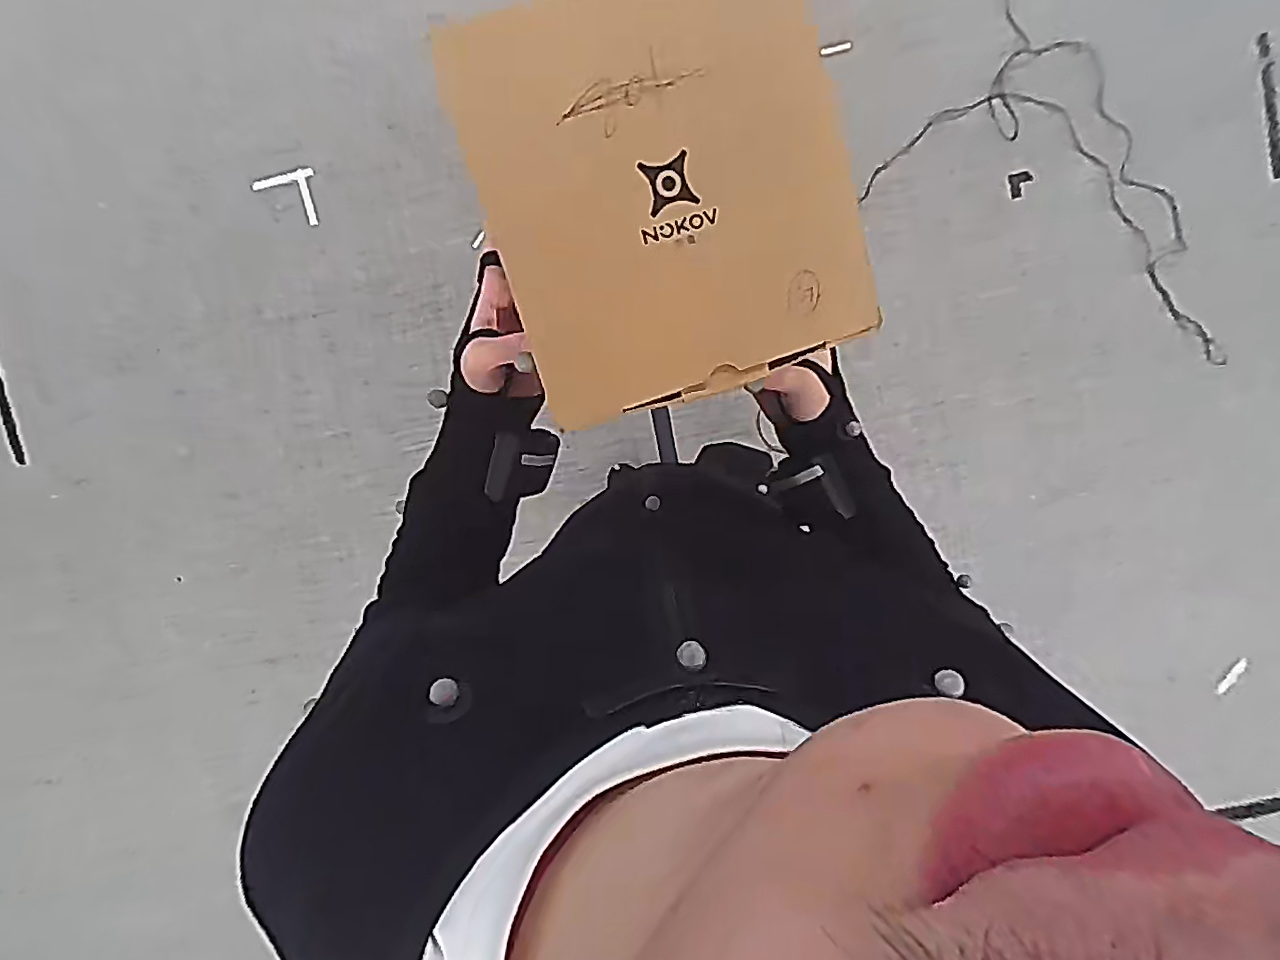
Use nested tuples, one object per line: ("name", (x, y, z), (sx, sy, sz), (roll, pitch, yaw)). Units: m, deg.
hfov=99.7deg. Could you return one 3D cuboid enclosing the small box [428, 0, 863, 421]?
("small box", (0.002, -0.147, 0.332), (0.168, 0.176, 0.179), (-20, 99, -4))
